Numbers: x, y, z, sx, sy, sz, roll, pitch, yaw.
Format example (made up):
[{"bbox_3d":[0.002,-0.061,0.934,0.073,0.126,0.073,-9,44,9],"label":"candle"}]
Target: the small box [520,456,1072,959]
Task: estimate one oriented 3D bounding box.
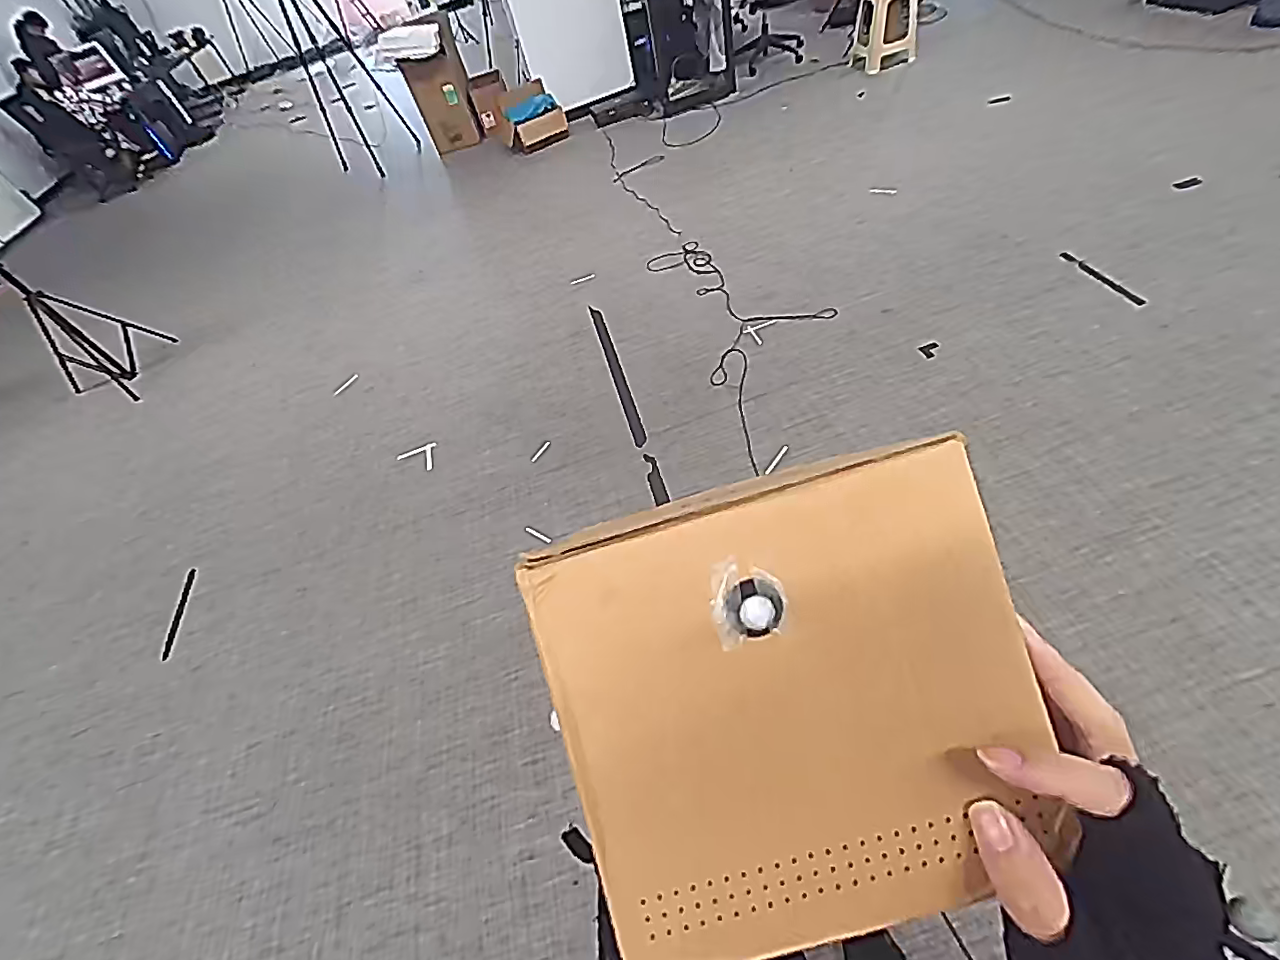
[{"bbox_3d":[0.063,0.097,0.279,0.179,0.168,0.176,-16,88,2],"label":"small box"}]
